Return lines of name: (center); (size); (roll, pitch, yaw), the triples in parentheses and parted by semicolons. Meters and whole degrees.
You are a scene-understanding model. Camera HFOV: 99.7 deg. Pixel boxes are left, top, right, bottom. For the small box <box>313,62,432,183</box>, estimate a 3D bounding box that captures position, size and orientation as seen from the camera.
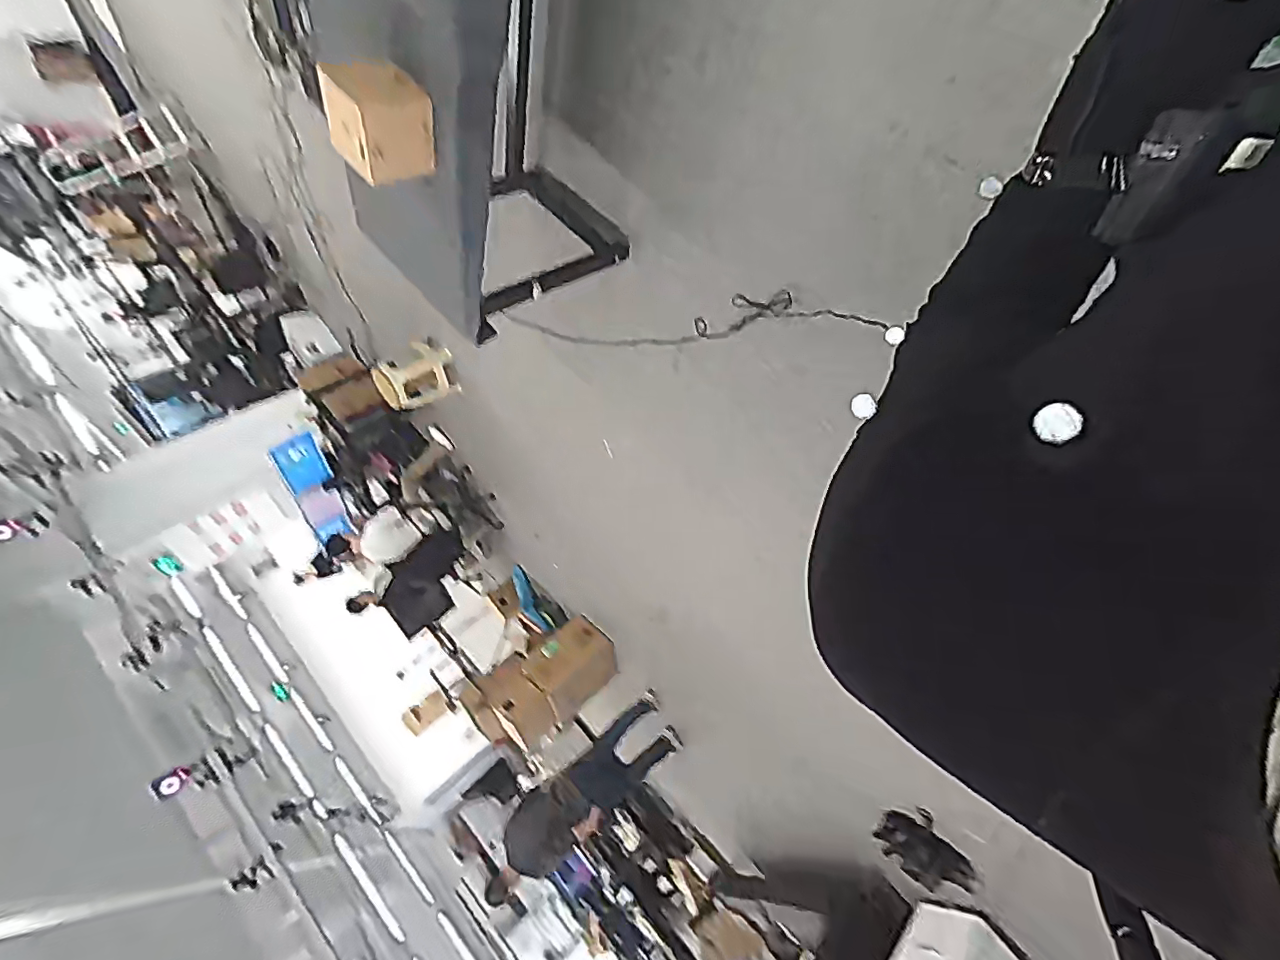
small box: (-0.595, -0.811, 1.222); (0.179, 0.176, 0.168); (46, 148, 14)
